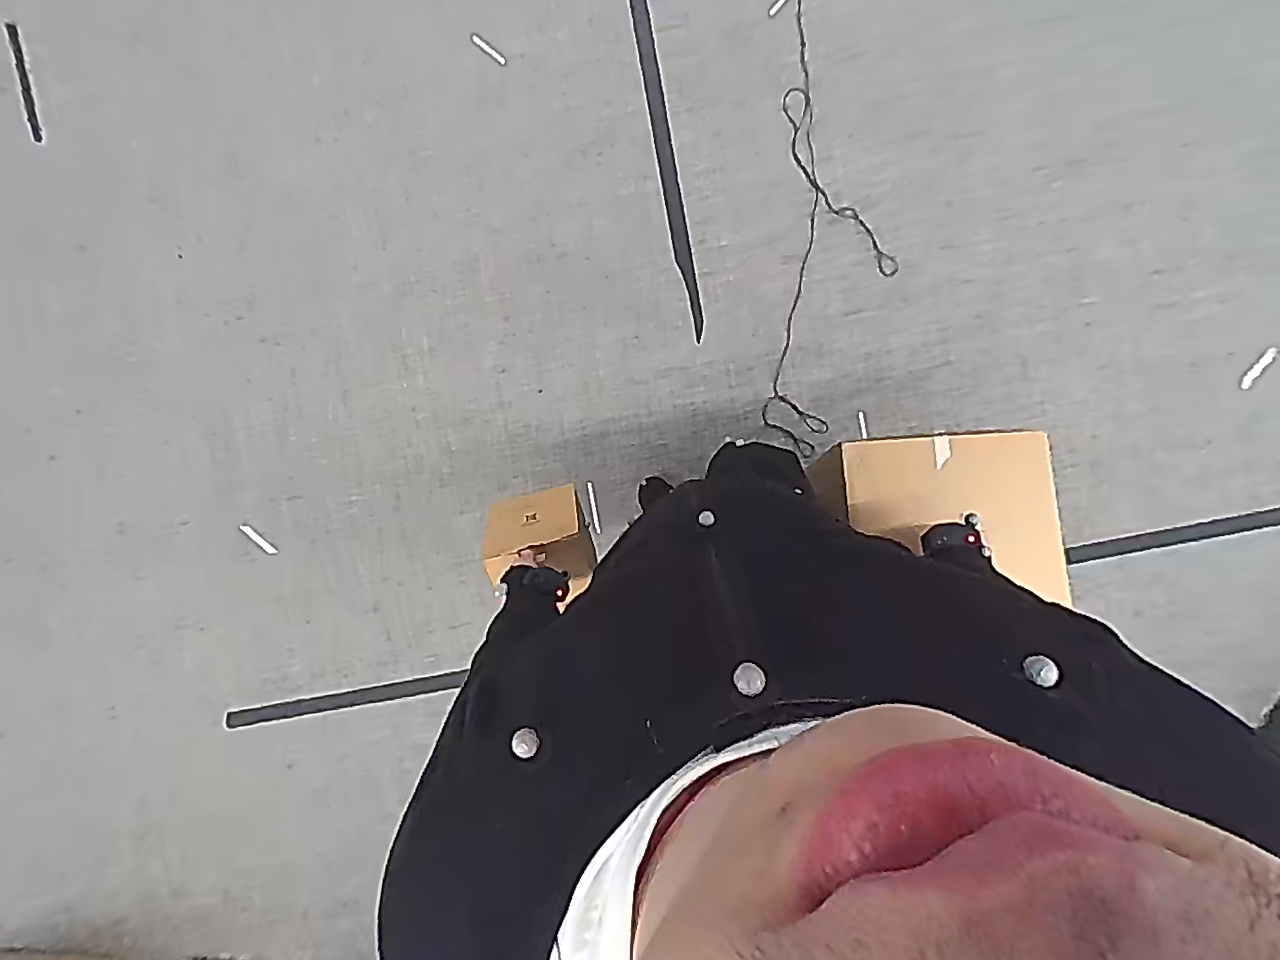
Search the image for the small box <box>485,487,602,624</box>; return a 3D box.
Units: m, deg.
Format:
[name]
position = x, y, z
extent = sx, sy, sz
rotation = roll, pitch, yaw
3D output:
[small box]
position = -0.173, 0.143, 0.997
extent = 0.168, 0.179, 0.176
rotation = -15, 119, -3
